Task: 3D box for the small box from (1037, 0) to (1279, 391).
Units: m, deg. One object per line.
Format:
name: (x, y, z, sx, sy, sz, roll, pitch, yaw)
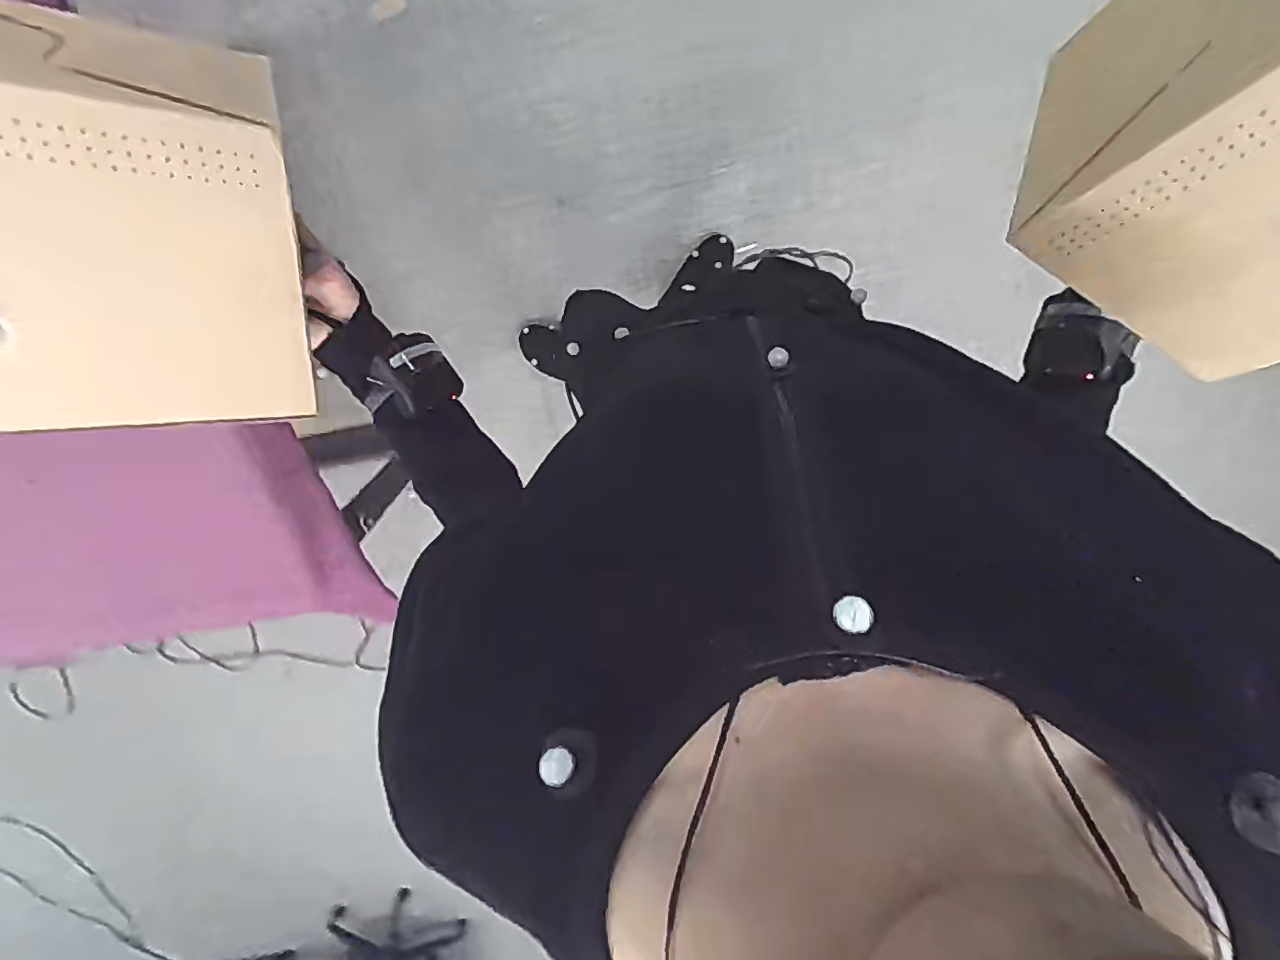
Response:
small box: (0.329, -0.173, 0.253, 0.176, 0.179, 0.168, 27, 74, -10)
